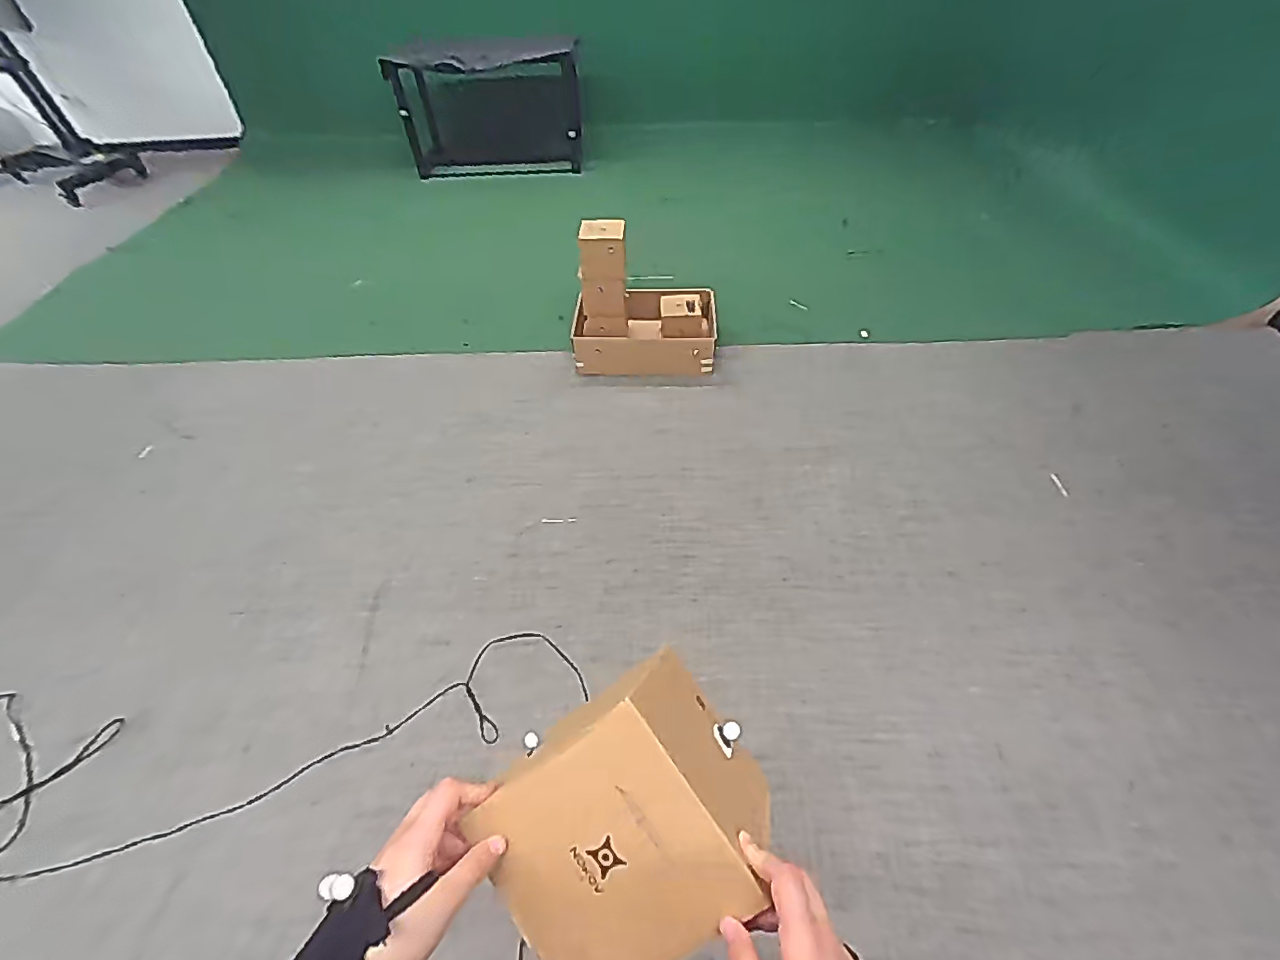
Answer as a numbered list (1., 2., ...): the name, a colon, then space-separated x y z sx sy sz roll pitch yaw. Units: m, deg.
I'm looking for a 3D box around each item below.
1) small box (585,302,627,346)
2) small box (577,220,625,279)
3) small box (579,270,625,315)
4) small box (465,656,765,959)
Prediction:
1. small box: -0.148 -0.721 2.435 0.168 0.176 0.179 0 50 2
2. small box: -0.152 -0.926 2.178 0.179 0.176 0.168 0 49 2
3. small box: -0.158 -0.820 2.305 0.179 0.176 0.168 1 50 2
4. small box: -0.007 0.287 0.475 0.179 0.176 0.168 -40 81 7
